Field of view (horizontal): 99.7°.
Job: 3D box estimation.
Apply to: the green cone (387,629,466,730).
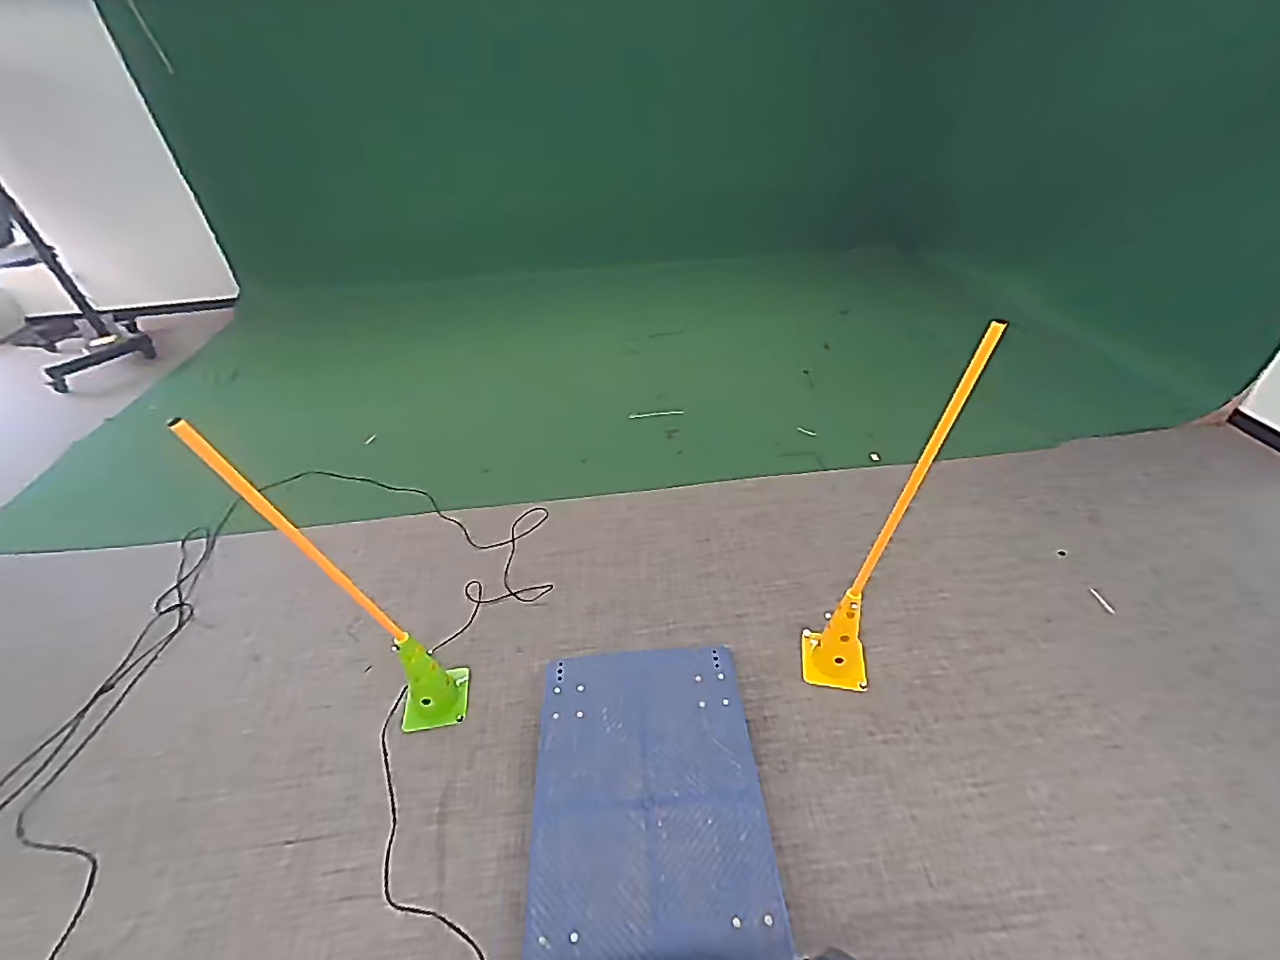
[{"bbox_3d":[-0.692,0.578,1.672,0.202,0.368,0.200,-10,39,-4],"label":"green cone"}]
